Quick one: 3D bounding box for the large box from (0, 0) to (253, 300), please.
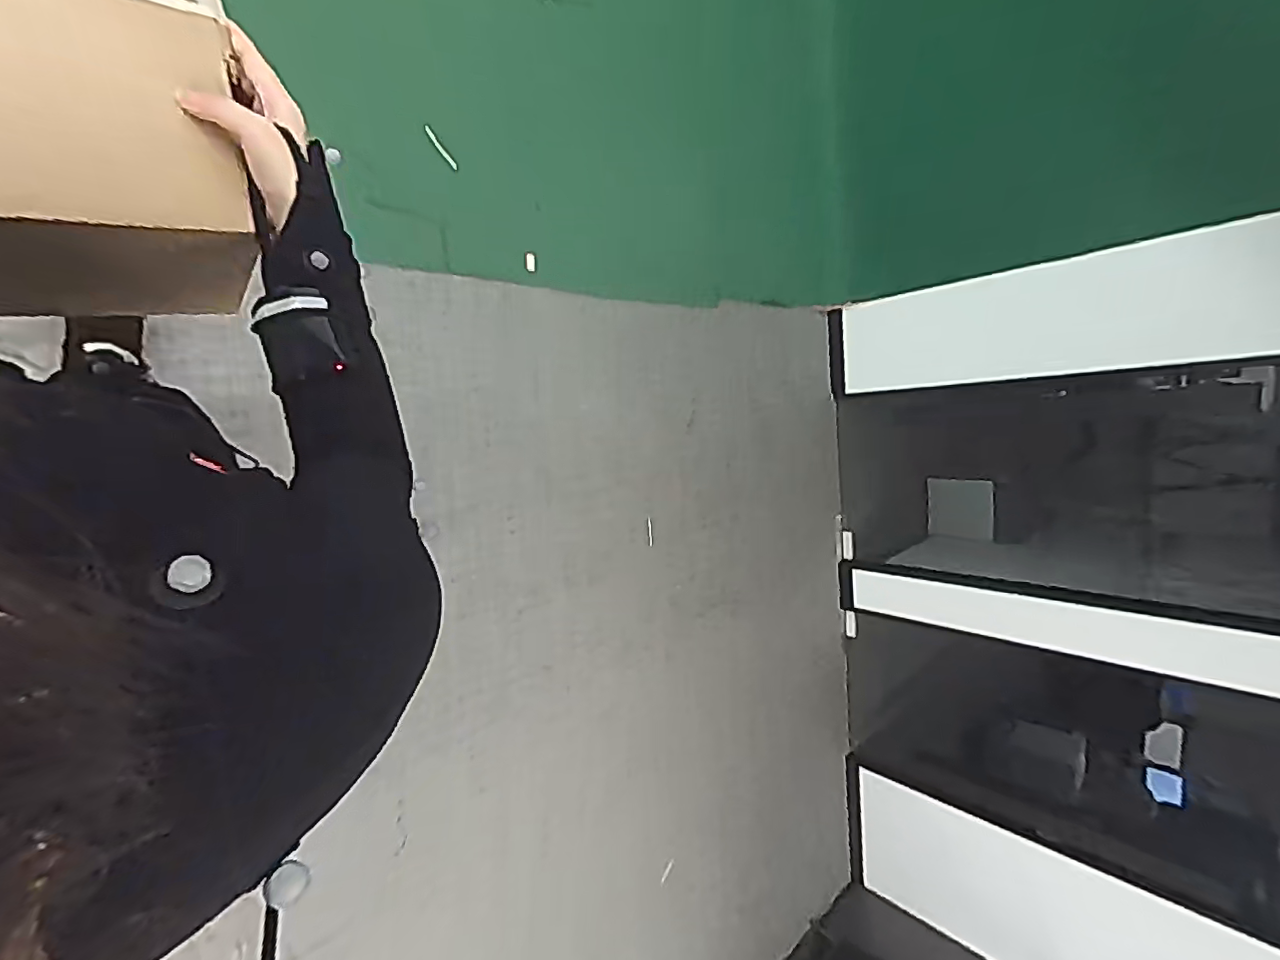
[{"bbox_3d":[-0.567,-0.314,0.391,0.408,0.320,0.320,-16,102,-37],"label":"large box"}]
